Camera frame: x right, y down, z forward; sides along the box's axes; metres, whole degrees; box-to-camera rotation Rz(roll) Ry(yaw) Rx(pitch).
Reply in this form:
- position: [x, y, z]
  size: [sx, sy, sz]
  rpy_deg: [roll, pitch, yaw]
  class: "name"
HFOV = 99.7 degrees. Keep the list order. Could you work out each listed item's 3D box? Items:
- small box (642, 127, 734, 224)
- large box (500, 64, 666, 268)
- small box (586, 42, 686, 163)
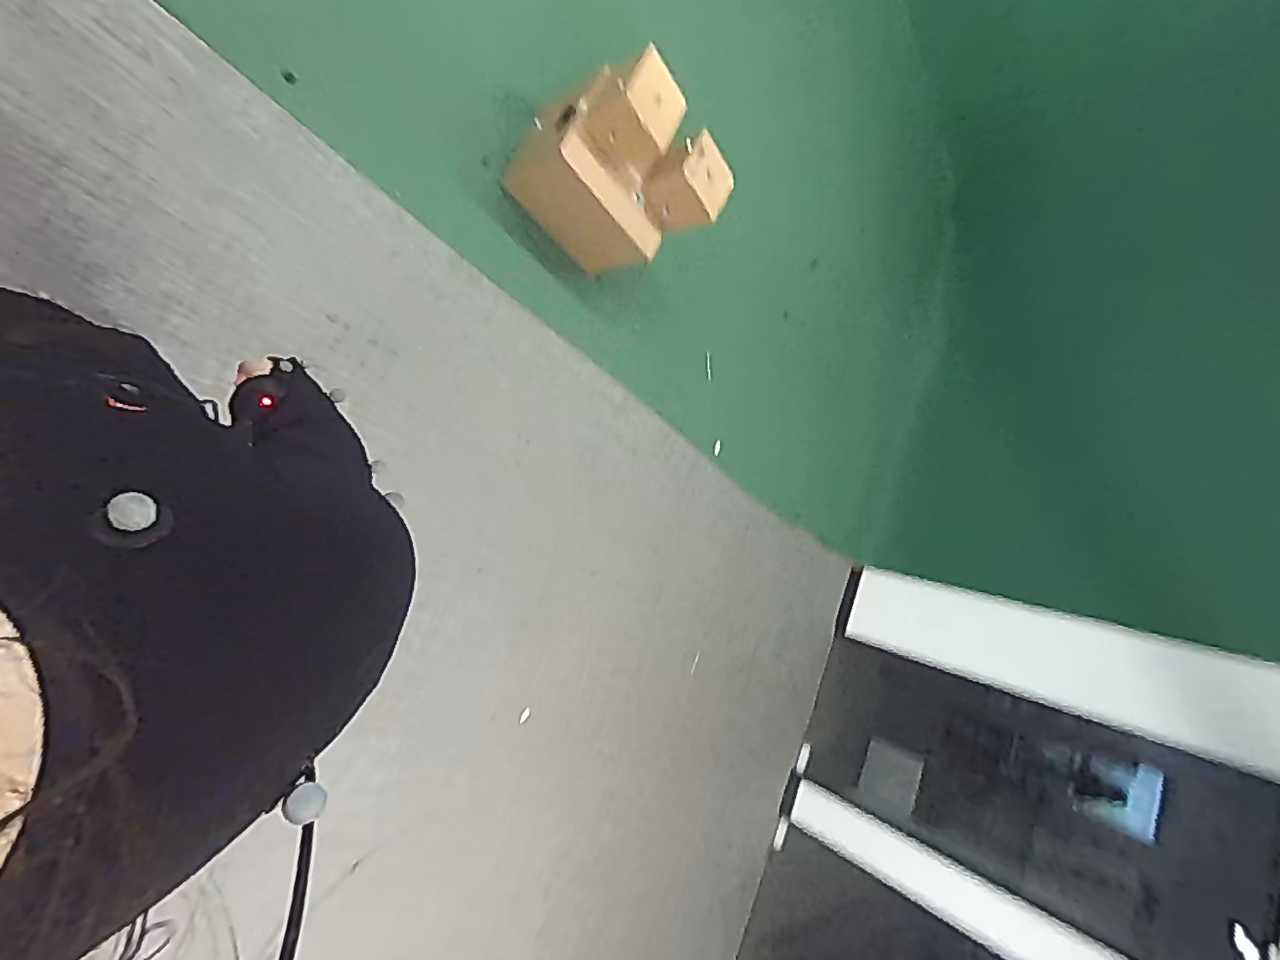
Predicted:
- position: [0.140, -0.877, 1.582]
  size: [0.179, 0.176, 0.168]
  rpy_deg: [41, 68, -41]
  class: "small box"
- position: [-0.140, -0.918, 1.644]
  size: [0.408, 0.320, 0.320]
  rpy_deg: [35, 73, -44]
  class: "large box"
- position: [-0.013, -0.977, 1.412]
  size: [0.168, 0.176, 0.179]
  rpy_deg: [36, 72, -43]
  class: "small box"
